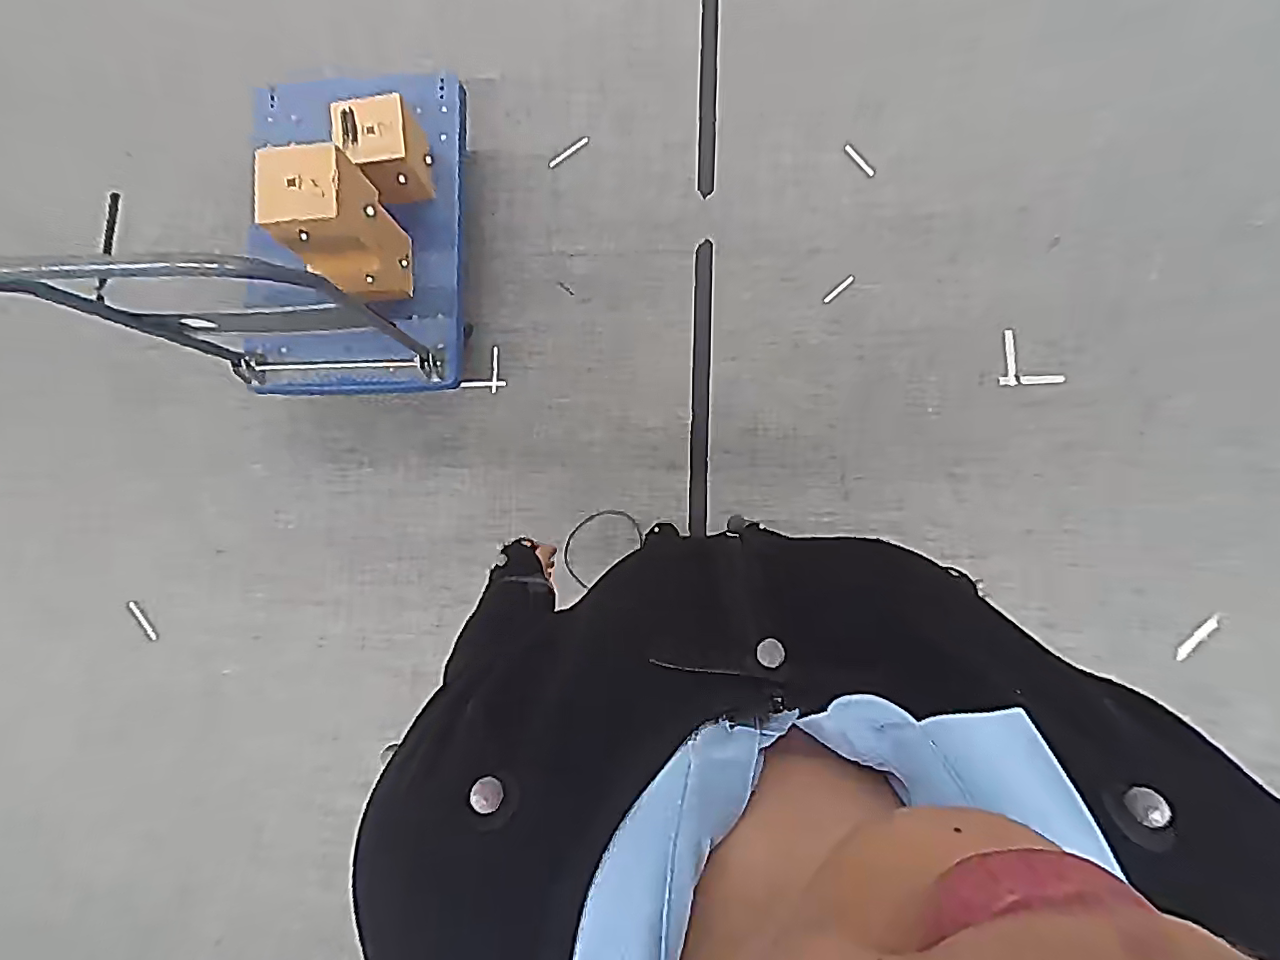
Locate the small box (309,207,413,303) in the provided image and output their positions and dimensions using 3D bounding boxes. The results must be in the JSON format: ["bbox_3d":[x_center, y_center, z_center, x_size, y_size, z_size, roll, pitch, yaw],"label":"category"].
[{"bbox_3d":[-0.692,-0.556,1.354,0.179,0.176,0.168,-4,84,2],"label":"small box"}]

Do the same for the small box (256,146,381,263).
[{"bbox_3d":[-0.701,-0.598,1.193,0.179,0.176,0.168,-4,85,2],"label":"small box"}]
